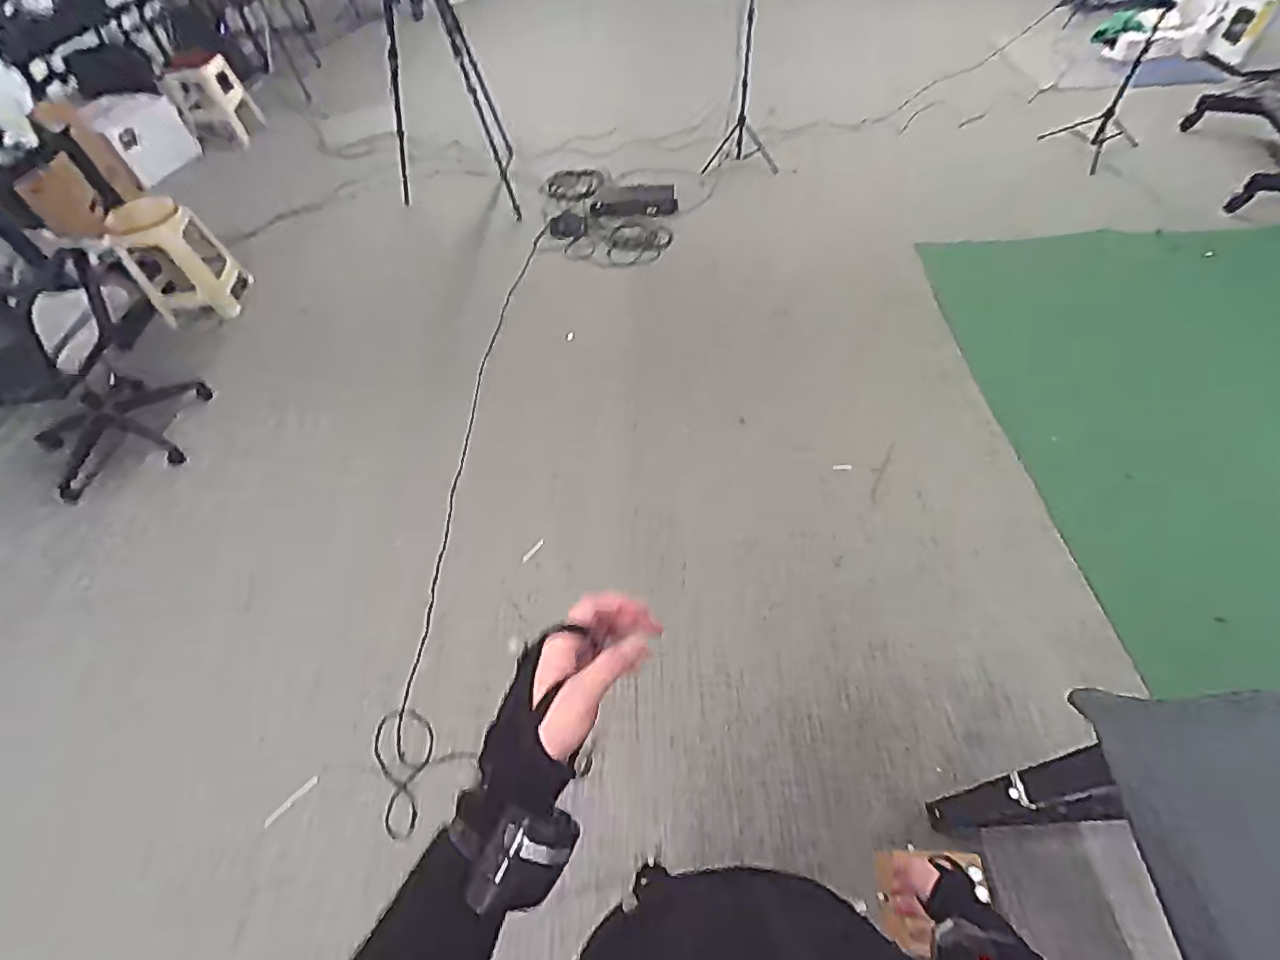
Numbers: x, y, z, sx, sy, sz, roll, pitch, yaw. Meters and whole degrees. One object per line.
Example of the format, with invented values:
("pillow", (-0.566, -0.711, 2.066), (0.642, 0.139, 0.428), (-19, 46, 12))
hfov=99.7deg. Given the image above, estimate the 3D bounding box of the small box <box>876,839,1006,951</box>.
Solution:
("small box", (0.605, 0.855, 1.120), (0.179, 0.176, 0.168), (1, 54, 5))
